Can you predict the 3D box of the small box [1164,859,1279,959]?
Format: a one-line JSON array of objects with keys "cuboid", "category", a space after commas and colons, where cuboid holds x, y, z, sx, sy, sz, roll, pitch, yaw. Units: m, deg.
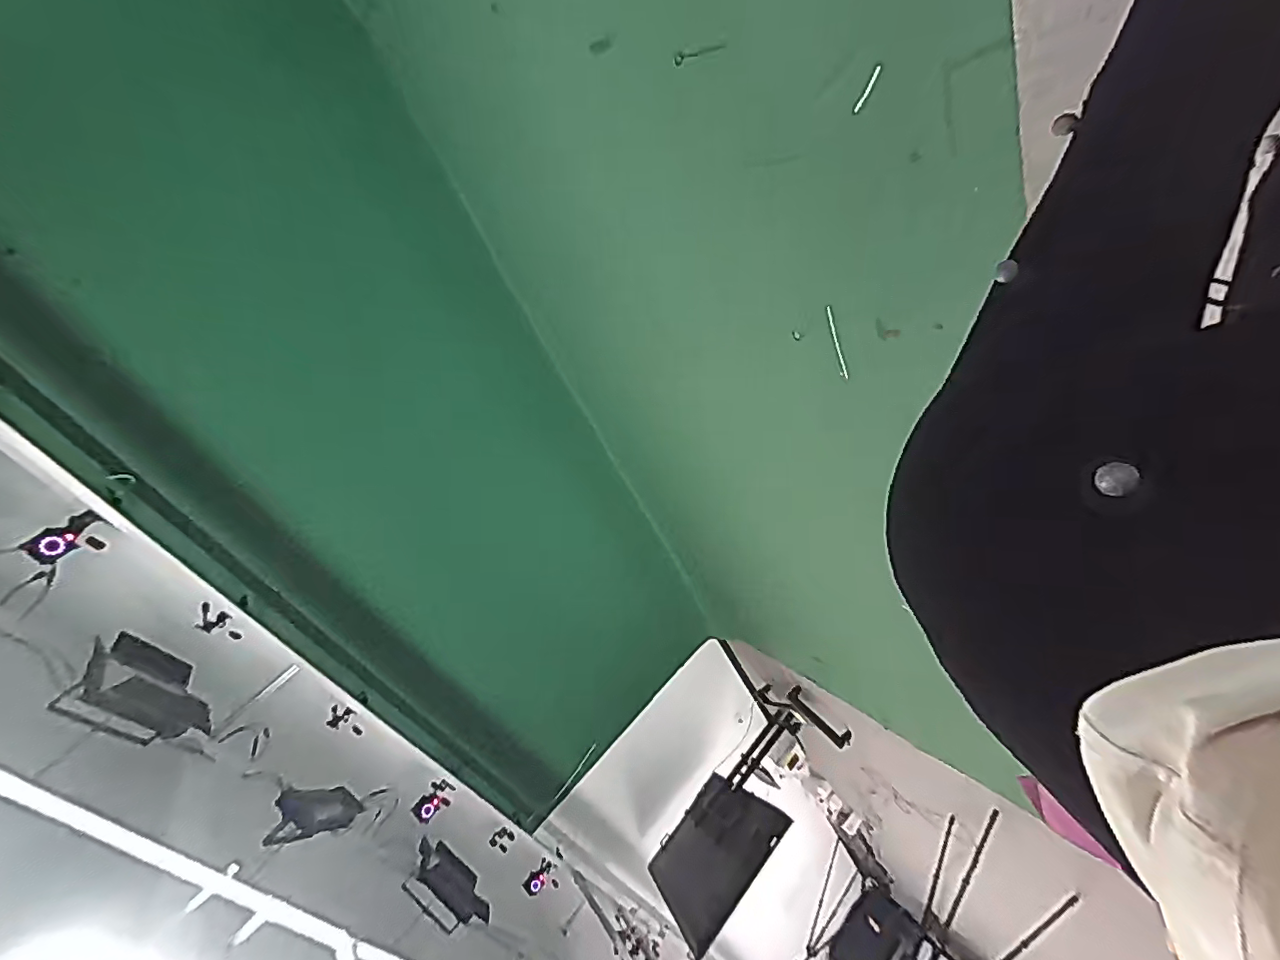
[{"cuboid": [1.428, 1.092, 1.328, 0.168, 0.176, 0.179, 15, 141, 53], "category": "small box"}]
